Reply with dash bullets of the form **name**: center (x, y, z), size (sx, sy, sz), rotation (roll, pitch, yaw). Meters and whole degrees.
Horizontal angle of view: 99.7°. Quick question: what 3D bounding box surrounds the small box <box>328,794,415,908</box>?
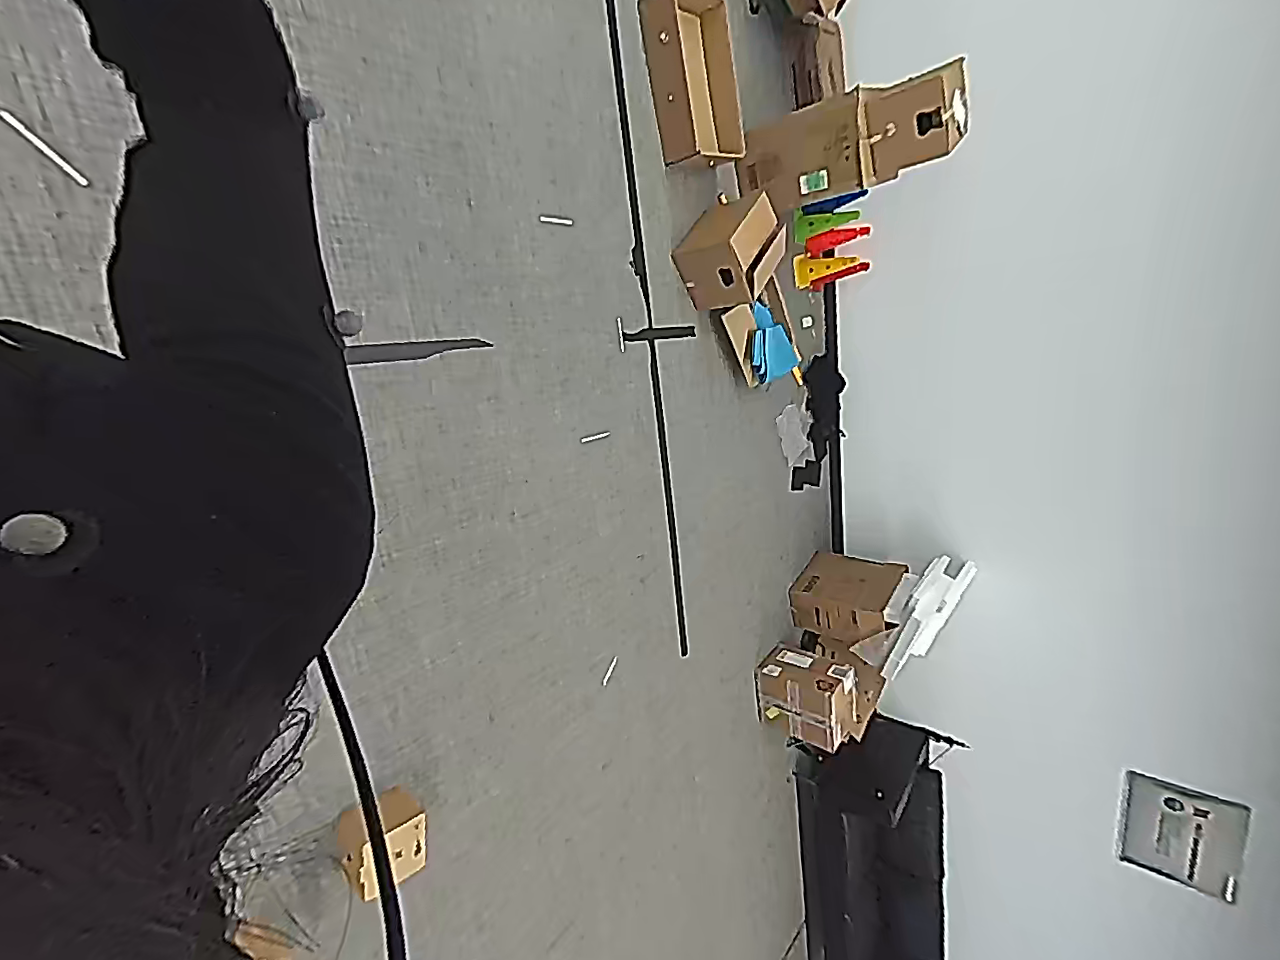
- **small box**: center (-0.754, 1.026, 1.512), size (0.179, 0.176, 0.168), rotation (-3, 96, -50)

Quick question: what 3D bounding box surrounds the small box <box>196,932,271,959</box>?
- **small box**: center (-0.973, 1.221, 1.269), size (0.168, 0.176, 0.179), rotation (-45, 125, -38)
